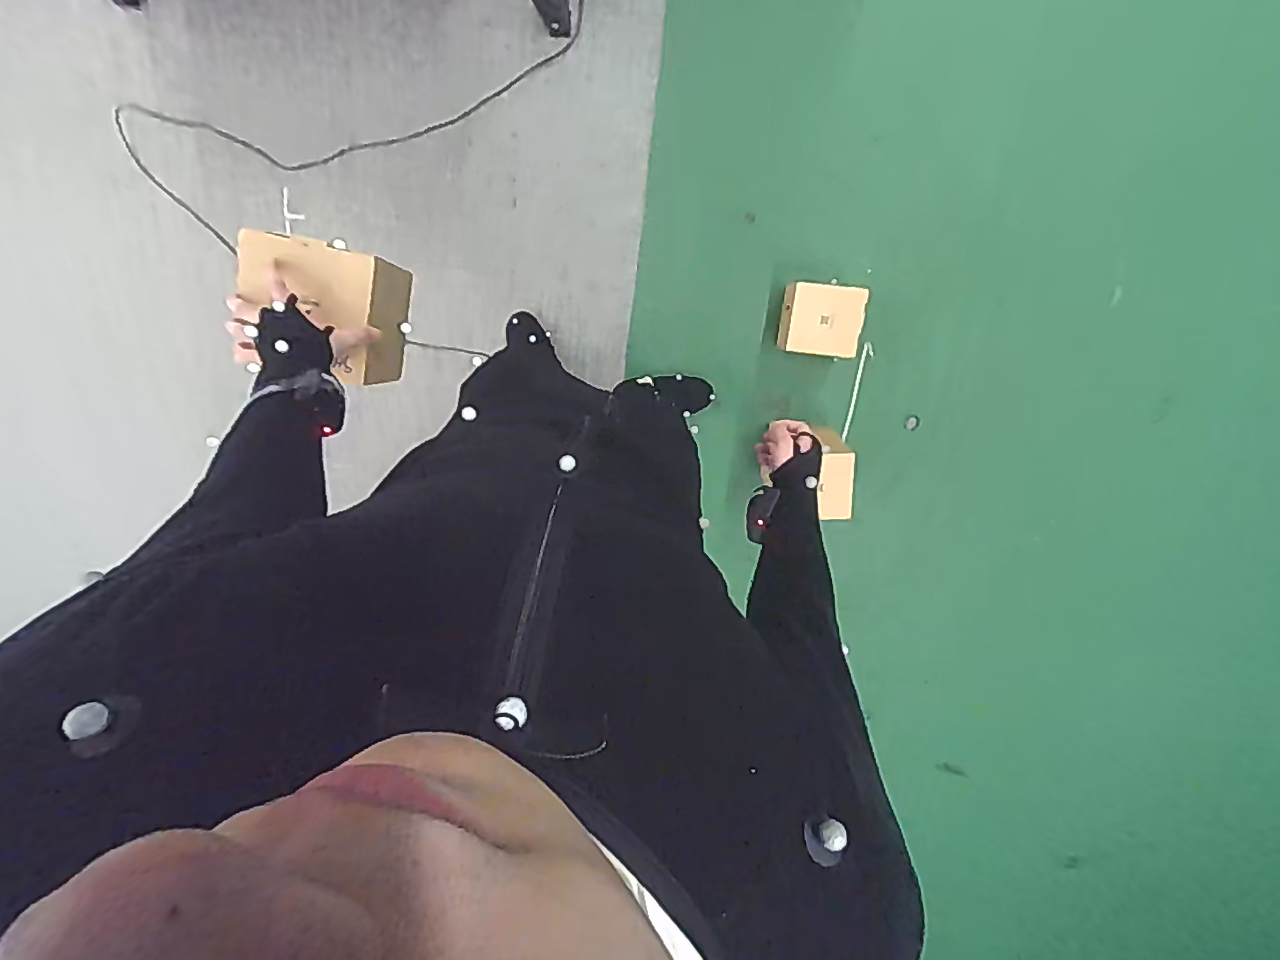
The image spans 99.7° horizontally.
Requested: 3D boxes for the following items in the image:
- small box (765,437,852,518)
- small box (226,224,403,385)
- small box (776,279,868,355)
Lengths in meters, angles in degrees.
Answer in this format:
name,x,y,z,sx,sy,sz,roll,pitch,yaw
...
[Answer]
name,x,y,z,sx,sy,sz,roll,pitch,yaw
small box,0.415,-0.011,1.354,0.179,0.176,0.168,0,107,7
small box,-0.460,-0.245,0.787,0.168,0.176,0.179,10,102,-8
small box,0.457,-0.419,1.393,0.179,0.176,0.168,7,108,2
